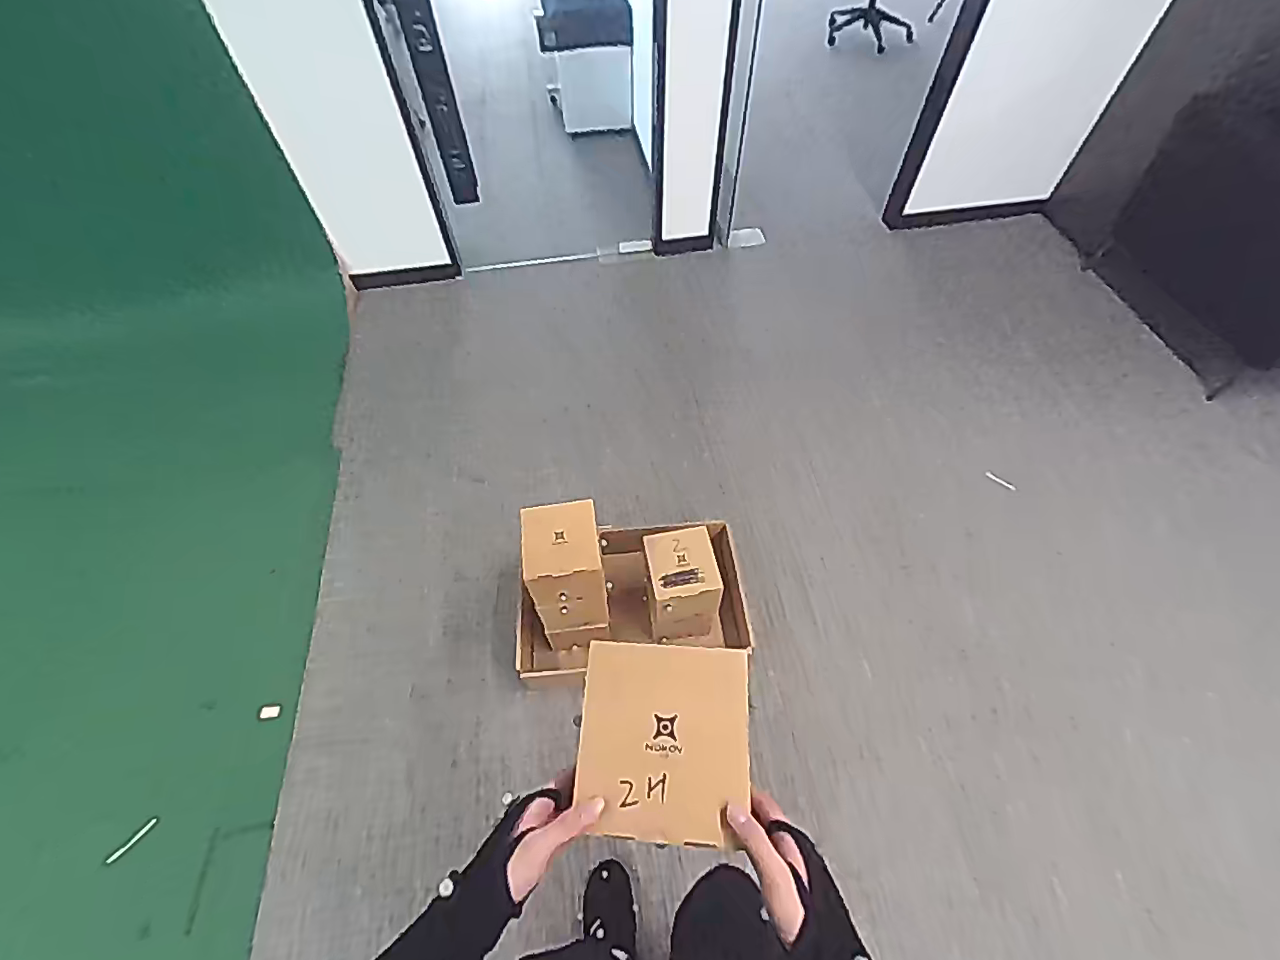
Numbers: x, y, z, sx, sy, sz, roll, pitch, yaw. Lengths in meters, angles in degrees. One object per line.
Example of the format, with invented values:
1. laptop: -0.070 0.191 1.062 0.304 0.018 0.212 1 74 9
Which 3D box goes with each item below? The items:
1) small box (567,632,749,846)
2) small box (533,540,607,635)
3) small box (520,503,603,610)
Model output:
1. small box: 0.026 0.279 0.591 0.168 0.176 0.179 2 62 6
2. small box: -0.175 0.271 1.366 0.168 0.176 0.179 -7 54 -3
3. small box: -0.177 0.176 1.233 0.168 0.176 0.179 -8 56 -5
